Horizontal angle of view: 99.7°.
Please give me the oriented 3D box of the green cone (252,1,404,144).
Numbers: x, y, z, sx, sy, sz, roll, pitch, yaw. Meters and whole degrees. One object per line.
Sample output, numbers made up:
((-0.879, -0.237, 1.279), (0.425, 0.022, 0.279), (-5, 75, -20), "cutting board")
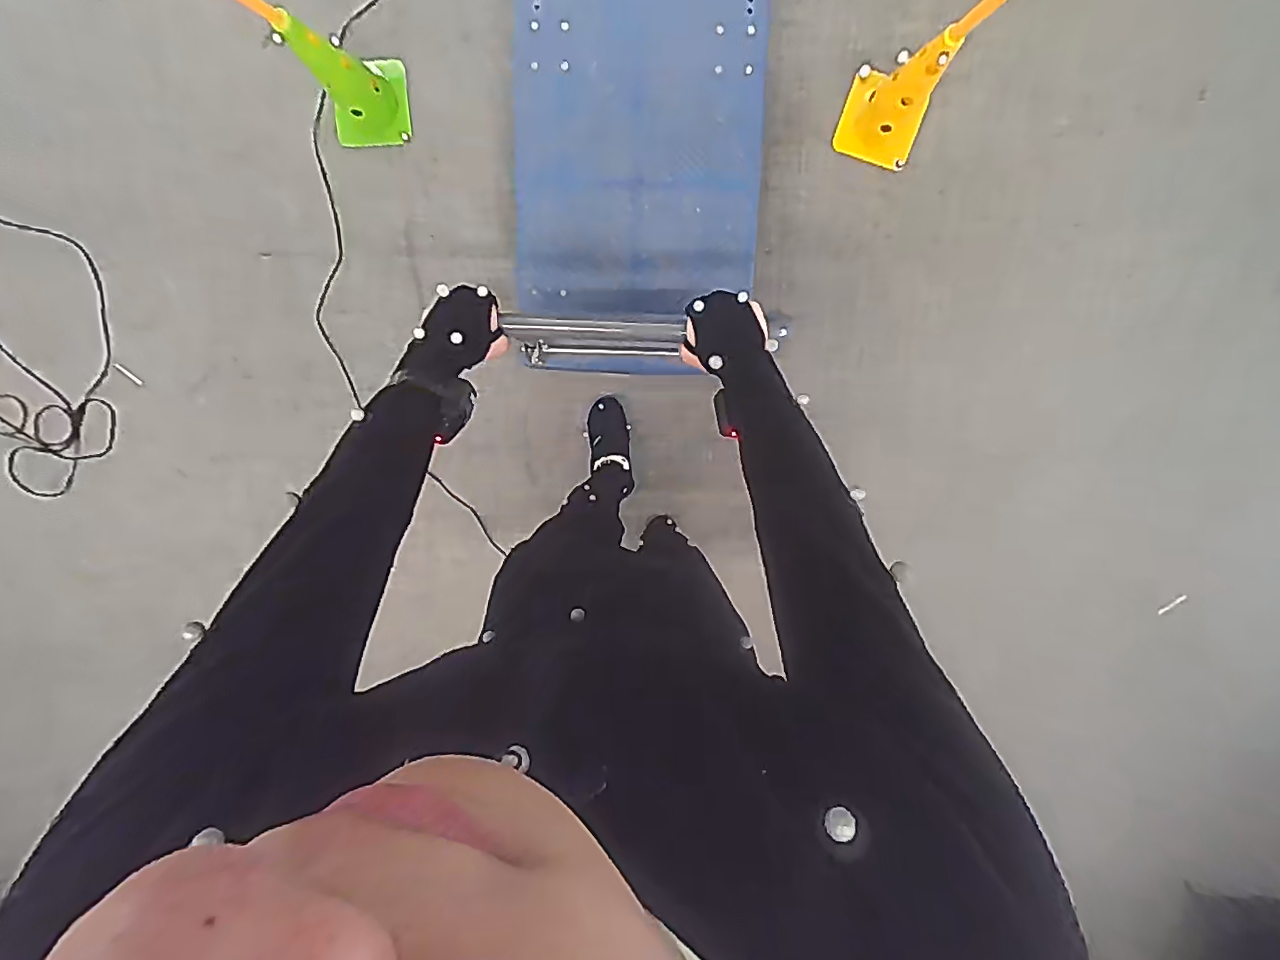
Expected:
((-0.726, -0.955, 1.232), (0.202, 0.368, 0.200), (-2, 101, 4), "green cone")
